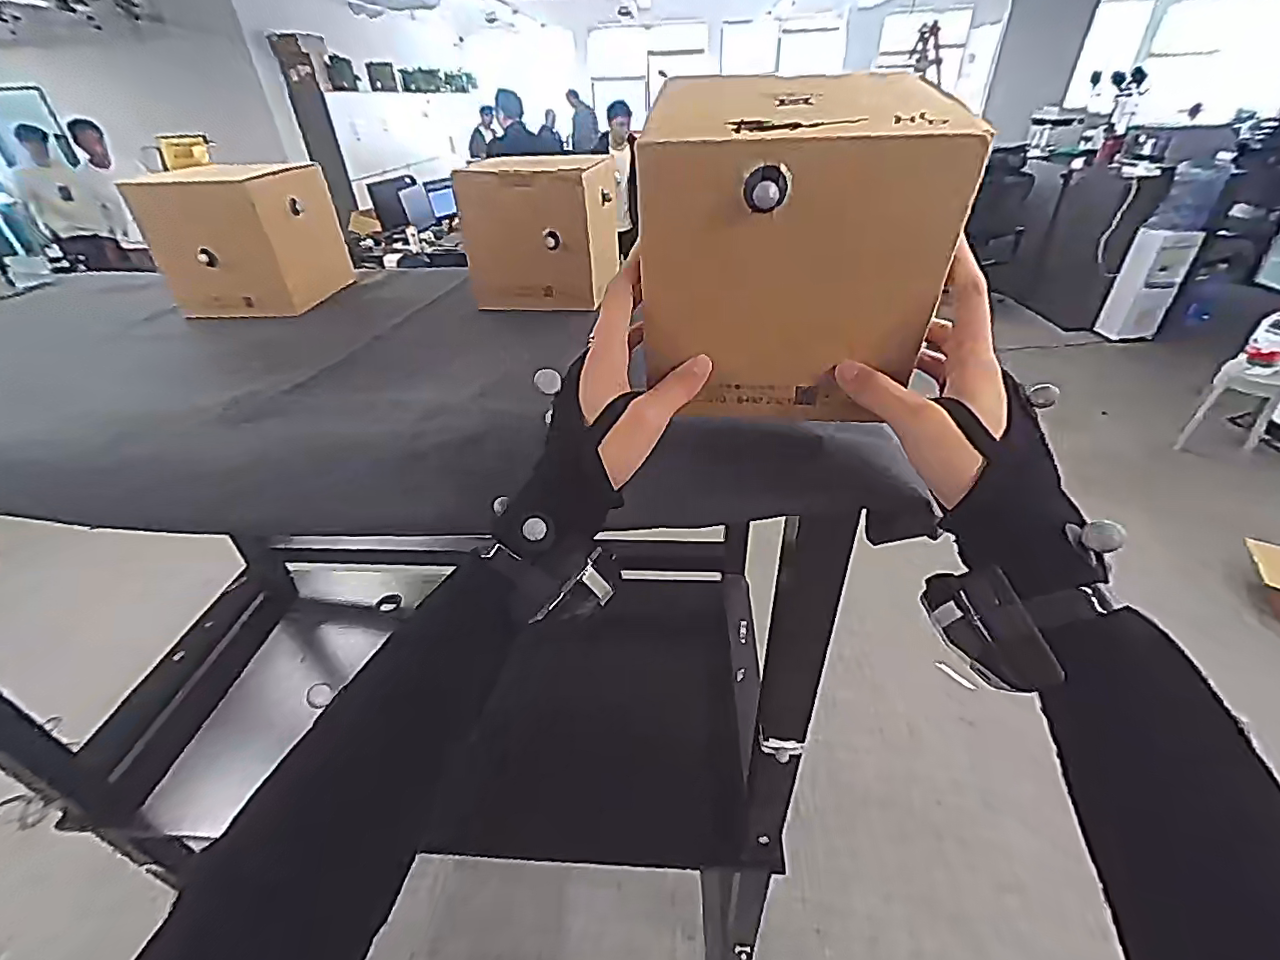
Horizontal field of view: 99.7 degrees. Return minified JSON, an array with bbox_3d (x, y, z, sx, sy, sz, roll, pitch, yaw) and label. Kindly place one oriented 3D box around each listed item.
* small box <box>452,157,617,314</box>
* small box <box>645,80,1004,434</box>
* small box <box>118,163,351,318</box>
[{"bbox_3d":[-0.127,-0.334,0.737,0.168,0.176,0.179,5,35,8],"label":"small box"},{"bbox_3d":[0.096,-0.152,0.365,0.168,0.176,0.179,3,44,7],"label":"small box"},{"bbox_3d":[-0.539,-0.334,0.756,0.168,0.176,0.179,1,36,3],"label":"small box"}]
